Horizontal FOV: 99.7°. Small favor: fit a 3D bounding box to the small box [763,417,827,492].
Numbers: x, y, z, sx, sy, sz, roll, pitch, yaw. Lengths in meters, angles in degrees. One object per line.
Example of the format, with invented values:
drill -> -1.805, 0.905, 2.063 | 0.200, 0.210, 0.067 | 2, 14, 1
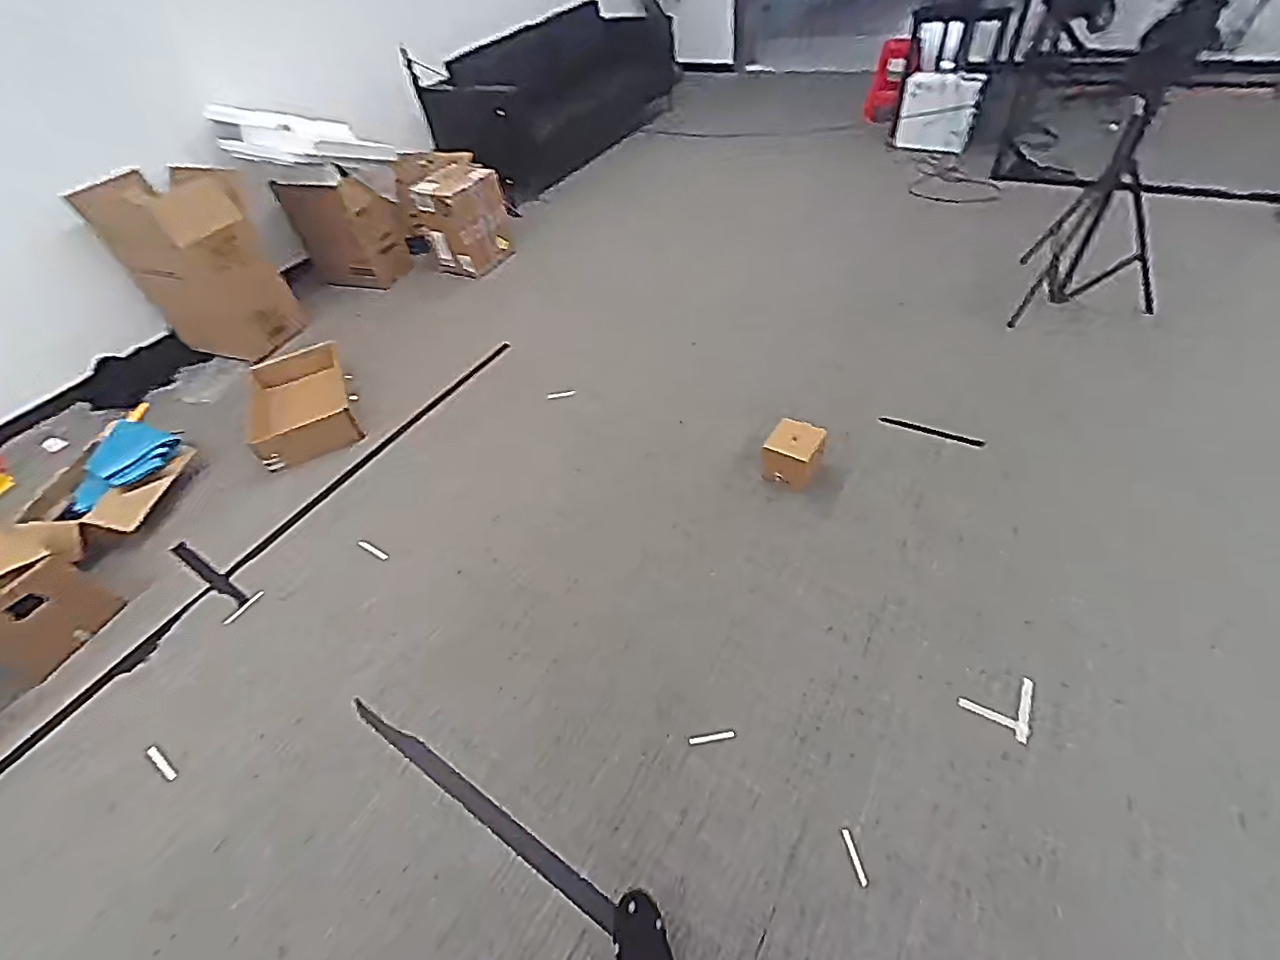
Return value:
small box -> 0.550, -0.091, 1.940 | 0.168, 0.176, 0.179 | 23, 57, 28
